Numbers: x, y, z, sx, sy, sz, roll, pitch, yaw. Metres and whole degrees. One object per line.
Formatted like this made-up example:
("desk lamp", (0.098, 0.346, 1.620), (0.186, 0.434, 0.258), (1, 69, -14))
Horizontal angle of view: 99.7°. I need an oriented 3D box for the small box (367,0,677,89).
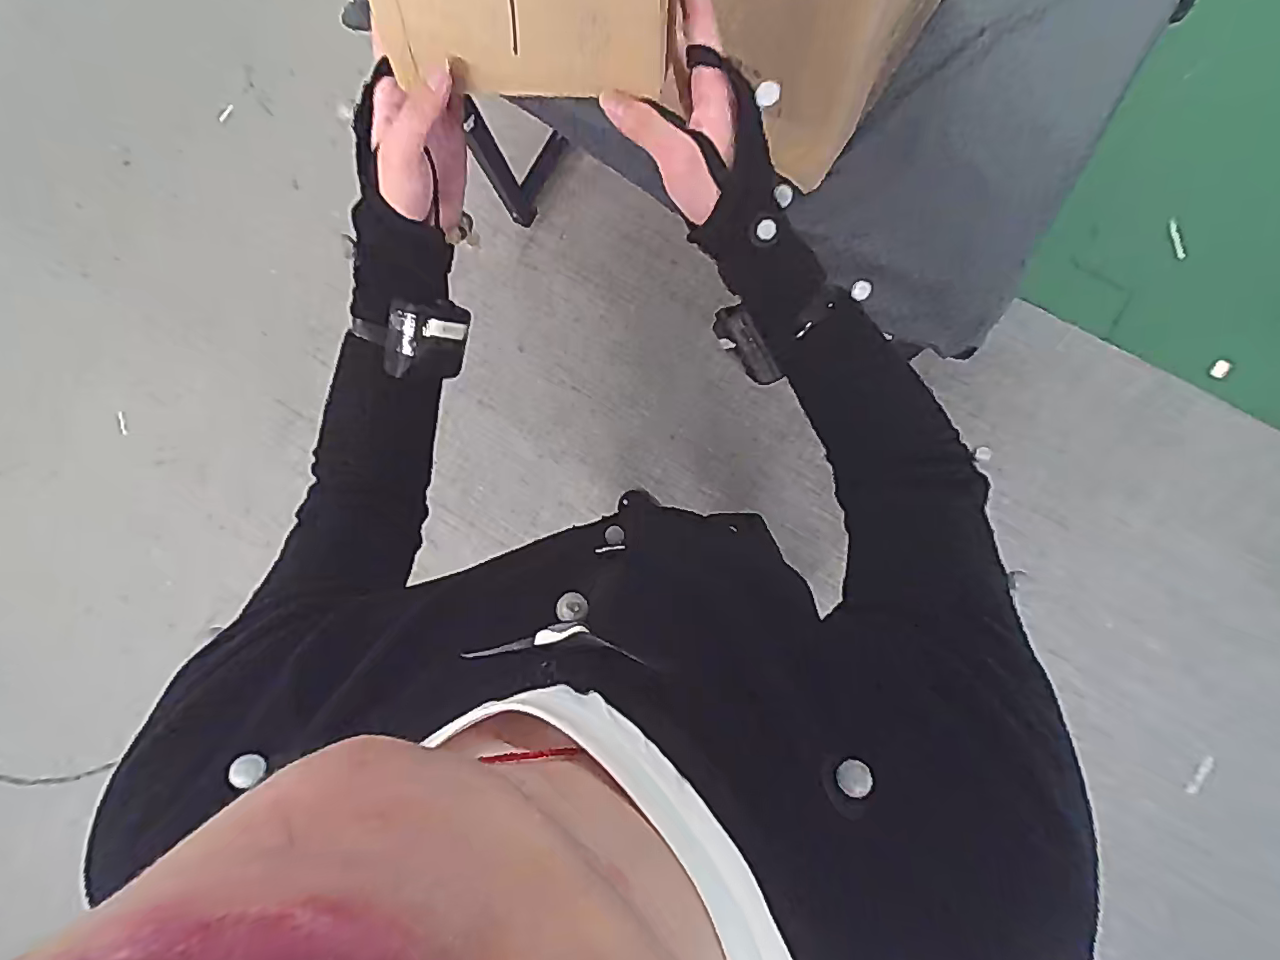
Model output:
("small box", (-0.060, -0.351, 0.295), (0.168, 0.179, 0.176), (6, 57, 4))
